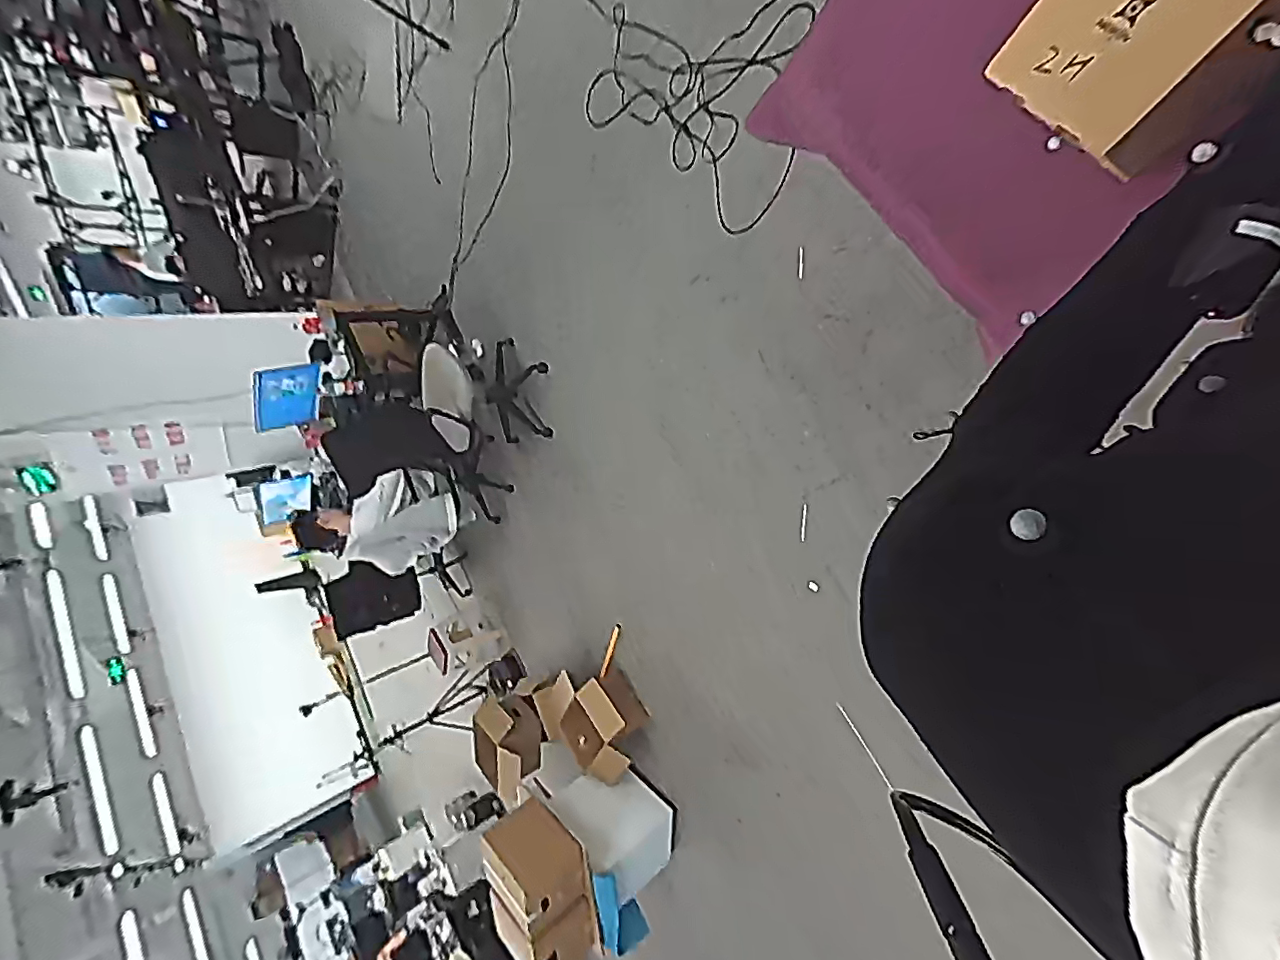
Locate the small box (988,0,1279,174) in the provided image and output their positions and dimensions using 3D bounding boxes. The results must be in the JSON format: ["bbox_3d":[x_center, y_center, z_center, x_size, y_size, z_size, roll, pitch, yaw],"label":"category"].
[{"bbox_3d":[0.521,-0.456,0.565,0.168,0.176,0.179,56,138,20],"label":"small box"}]
